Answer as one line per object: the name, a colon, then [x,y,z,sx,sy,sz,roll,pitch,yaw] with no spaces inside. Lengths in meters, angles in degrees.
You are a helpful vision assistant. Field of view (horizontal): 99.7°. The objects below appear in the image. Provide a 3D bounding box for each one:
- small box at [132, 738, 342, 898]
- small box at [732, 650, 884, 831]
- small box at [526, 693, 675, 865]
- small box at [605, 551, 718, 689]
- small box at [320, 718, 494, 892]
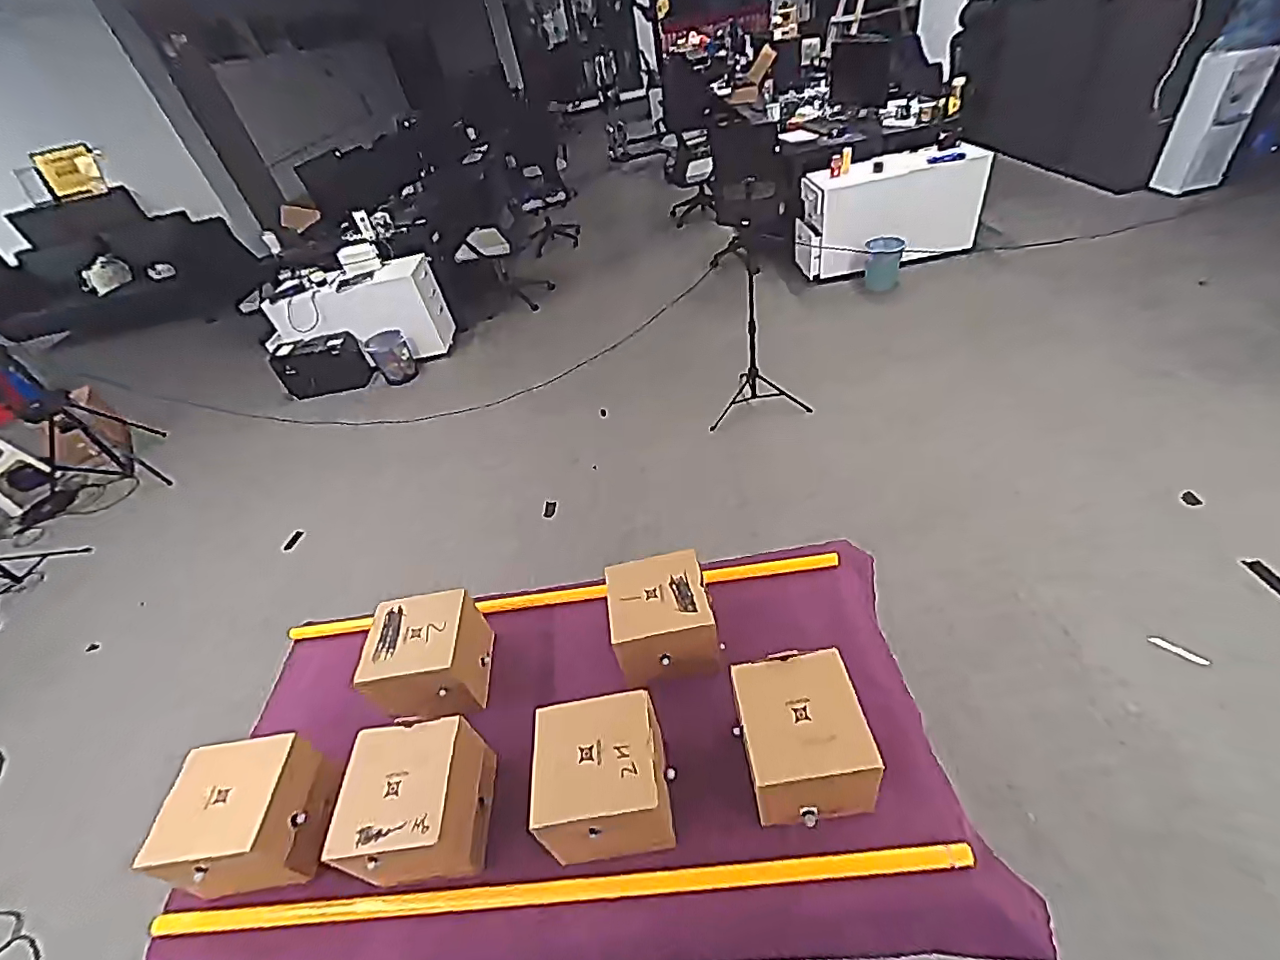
small box: [-0.613,0.536,0.855,0.179,0.176,0.168,-10,41,2]
small box: [0.237,0.382,0.797,0.168,0.176,0.179,-12,39,4]
small box: [-0.054,0.446,0.804,0.179,0.176,0.168,-11,40,4]
small box: [0.042,0.258,0.990,0.179,0.176,0.168,-13,42,3]
small box: [-0.336,0.496,0.825,0.168,0.176,0.179,-11,41,5]
